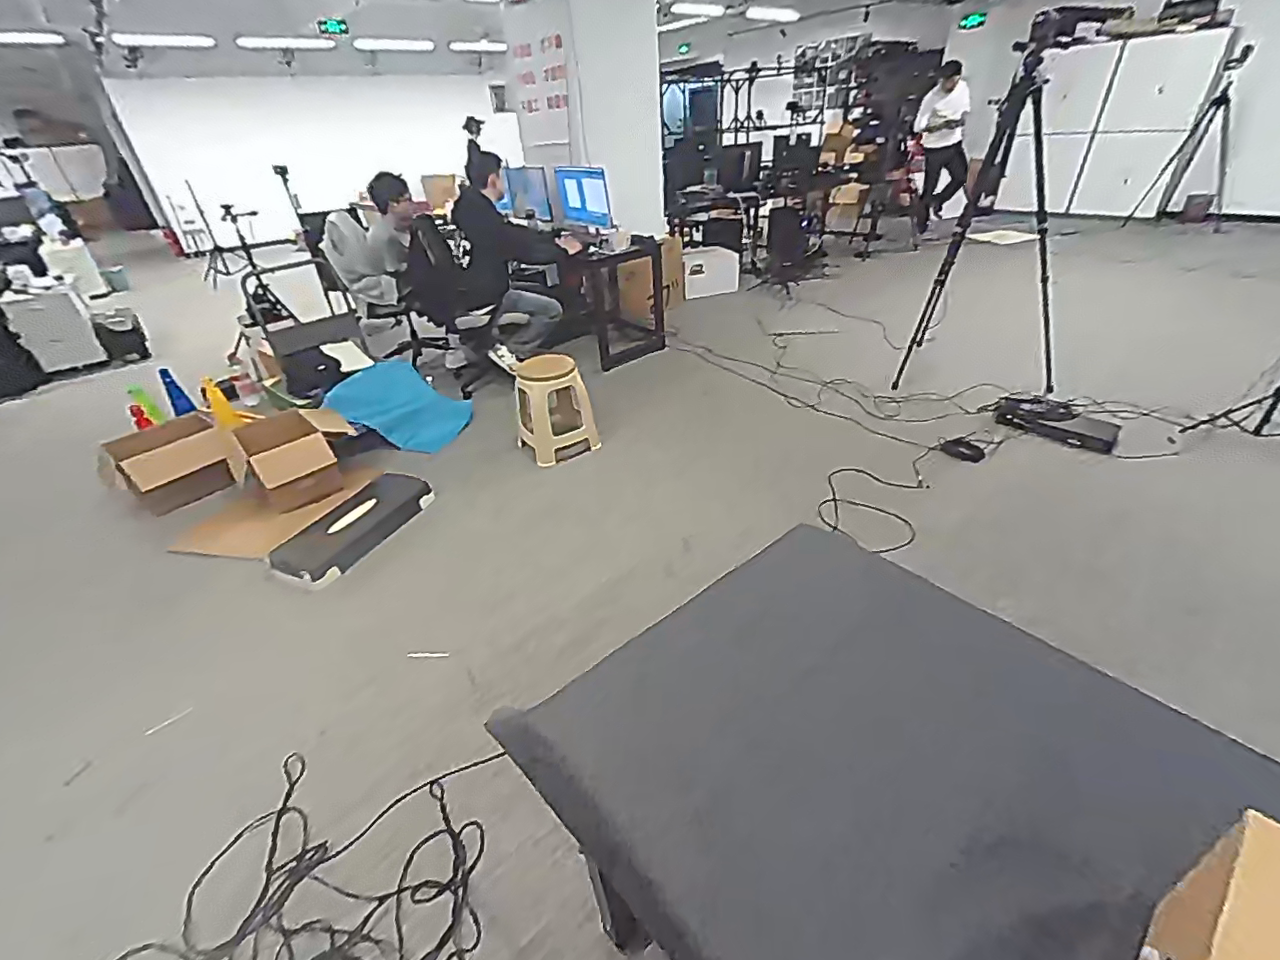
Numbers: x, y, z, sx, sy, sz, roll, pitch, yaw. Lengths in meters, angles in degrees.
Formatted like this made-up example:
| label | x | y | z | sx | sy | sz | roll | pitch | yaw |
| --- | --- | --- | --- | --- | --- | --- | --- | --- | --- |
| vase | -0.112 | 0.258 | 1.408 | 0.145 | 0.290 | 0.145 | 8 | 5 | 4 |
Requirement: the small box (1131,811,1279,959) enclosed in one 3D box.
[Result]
| label | x | y | z | sx | sy | sz | roll | pitch | yaw |
| --- | --- | --- | --- | --- | --- | --- | --- | --- | --- |
| small box | 0.488 | 0.404 | 0.391 | 0.179 | 0.176 | 0.168 | -22 | 36 | -35 |
